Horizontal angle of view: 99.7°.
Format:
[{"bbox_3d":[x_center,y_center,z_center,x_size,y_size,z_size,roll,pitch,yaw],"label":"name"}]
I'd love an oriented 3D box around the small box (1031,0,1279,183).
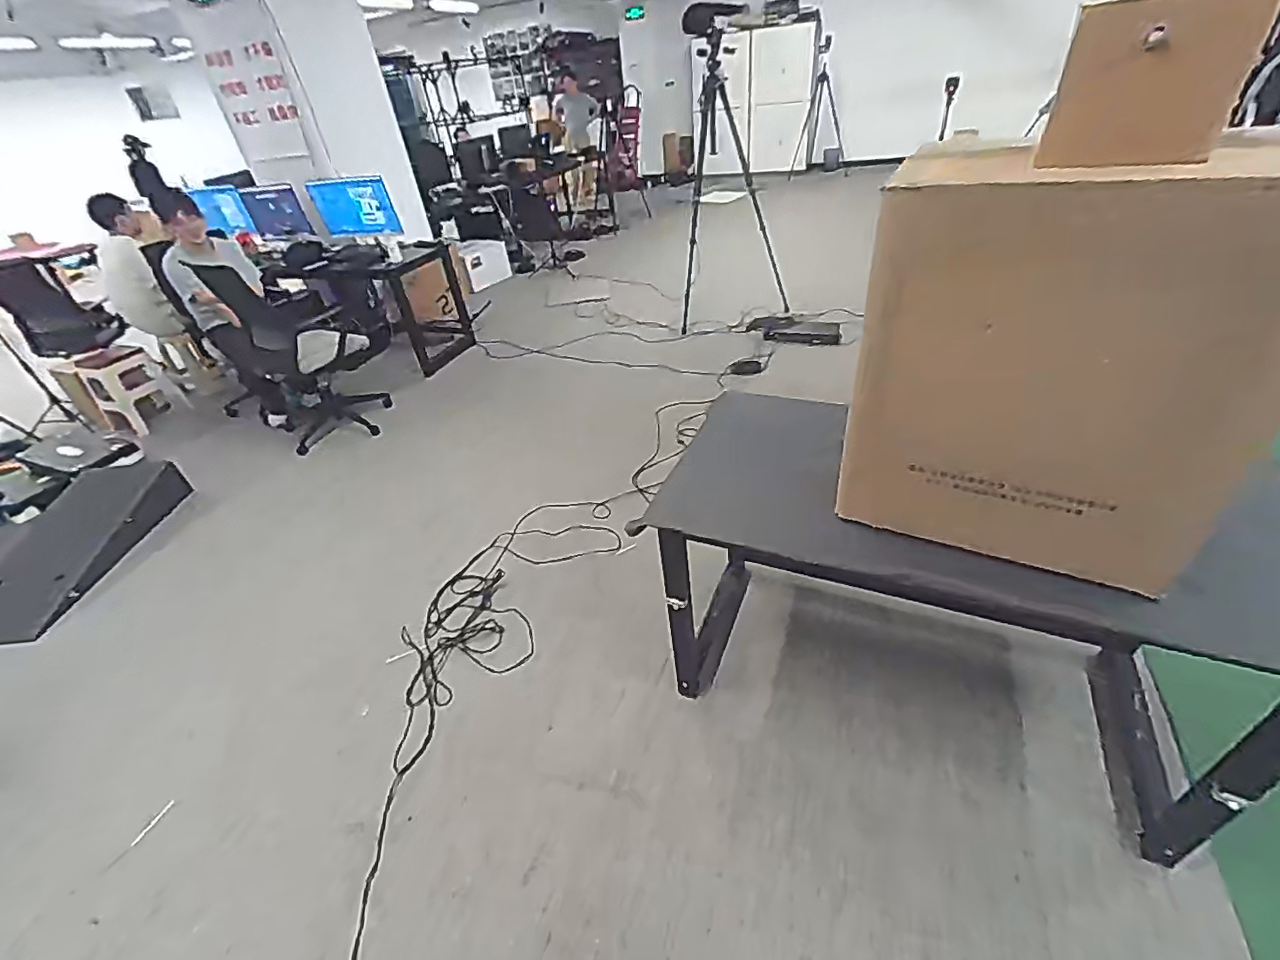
[{"bbox_3d":[0.625,-0.485,0.678,0.179,0.176,0.168,15,44,28],"label":"small box"}]
